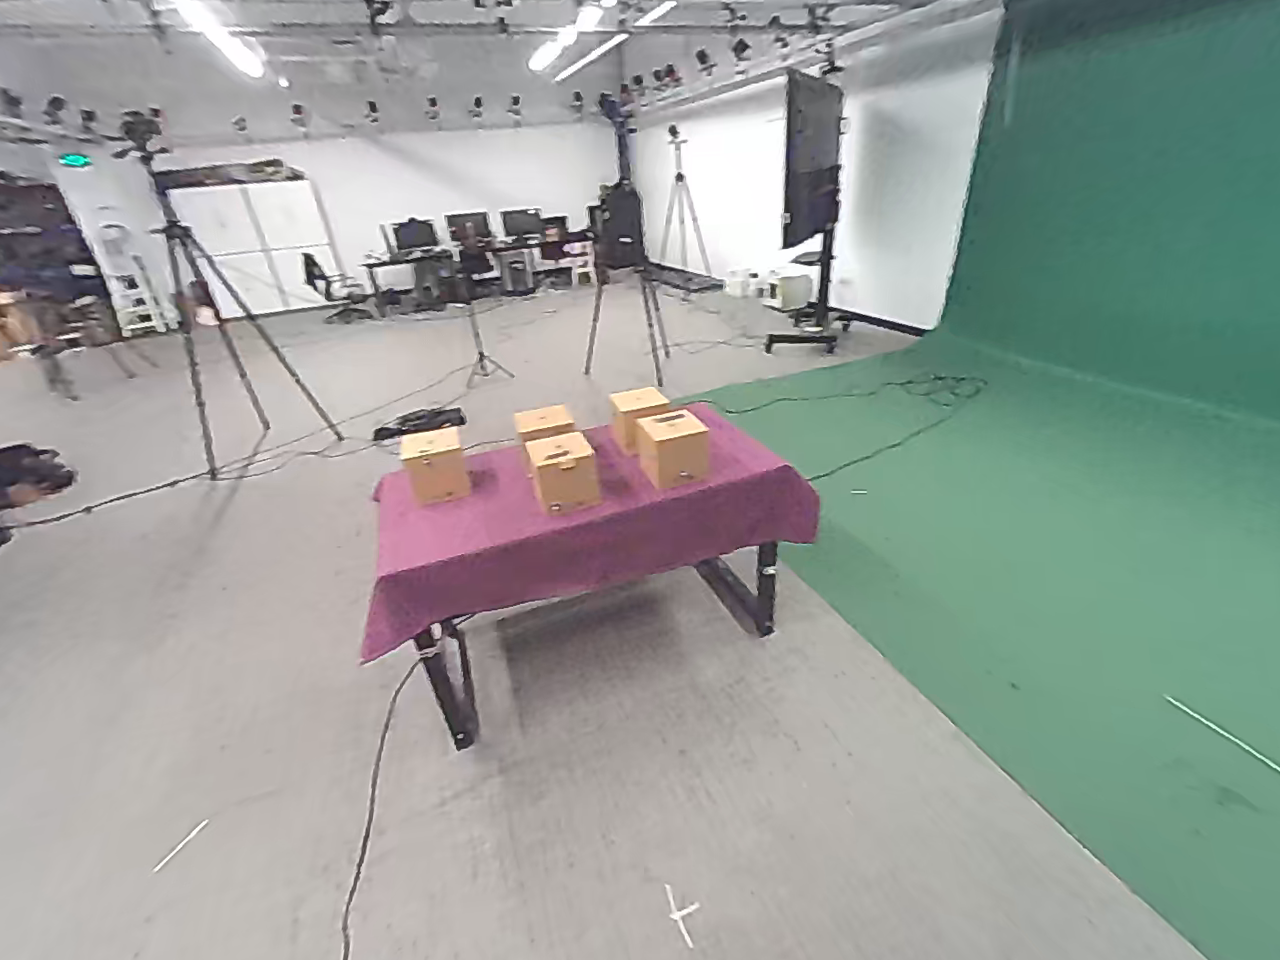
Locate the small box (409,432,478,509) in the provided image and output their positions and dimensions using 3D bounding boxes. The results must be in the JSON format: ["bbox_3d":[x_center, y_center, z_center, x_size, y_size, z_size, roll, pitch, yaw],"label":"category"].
[{"bbox_3d":[-0.611,-0.032,1.689,0.168,0.176,0.179,-14,30,-15],"label":"small box"}]

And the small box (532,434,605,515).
[{"bbox_3d":[-0.209,-0.012,1.577,0.168,0.176,0.179,-14,29,-14],"label":"small box"}]

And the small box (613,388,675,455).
[{"bbox_3d":[0.016,-0.198,1.870,0.168,0.176,0.179,-14,29,-13],"label":"small box"}]

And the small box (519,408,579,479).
[{"bbox_3d":[-0.292,-0.119,1.788,0.179,0.176,0.168,-13,31,-13],"label":"small box"}]
